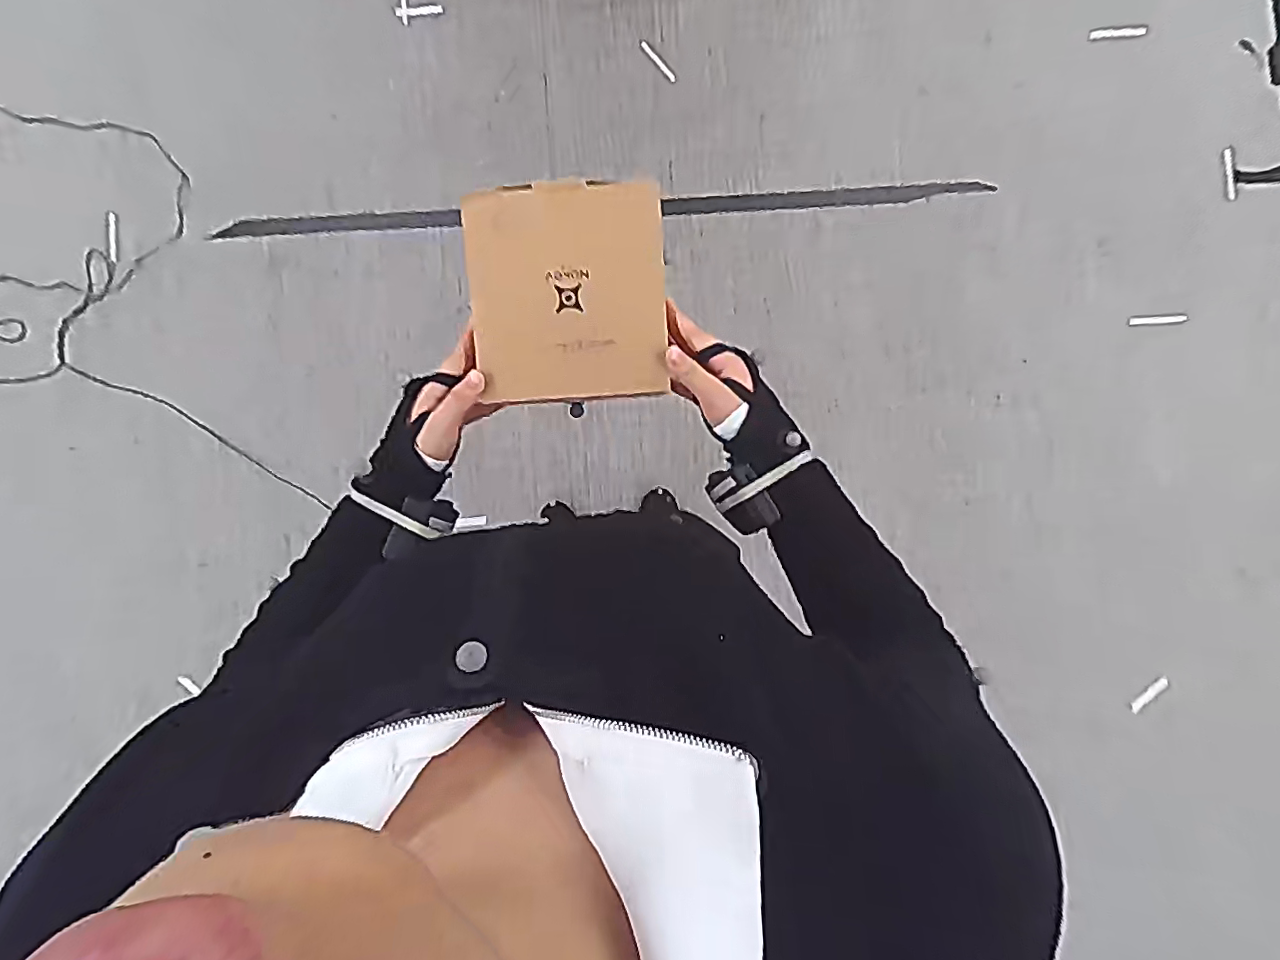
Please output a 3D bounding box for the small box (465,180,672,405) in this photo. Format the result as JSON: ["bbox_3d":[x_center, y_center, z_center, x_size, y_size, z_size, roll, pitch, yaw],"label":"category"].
[{"bbox_3d":[-0.061,-0.167,0.532,0.168,0.176,0.179,-4,98,-1],"label":"small box"}]

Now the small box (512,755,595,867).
[{"bbox_3d":[-0.203,0.785,1.305,0.168,0.176,0.179,-6,89,1],"label":"small box"}]
